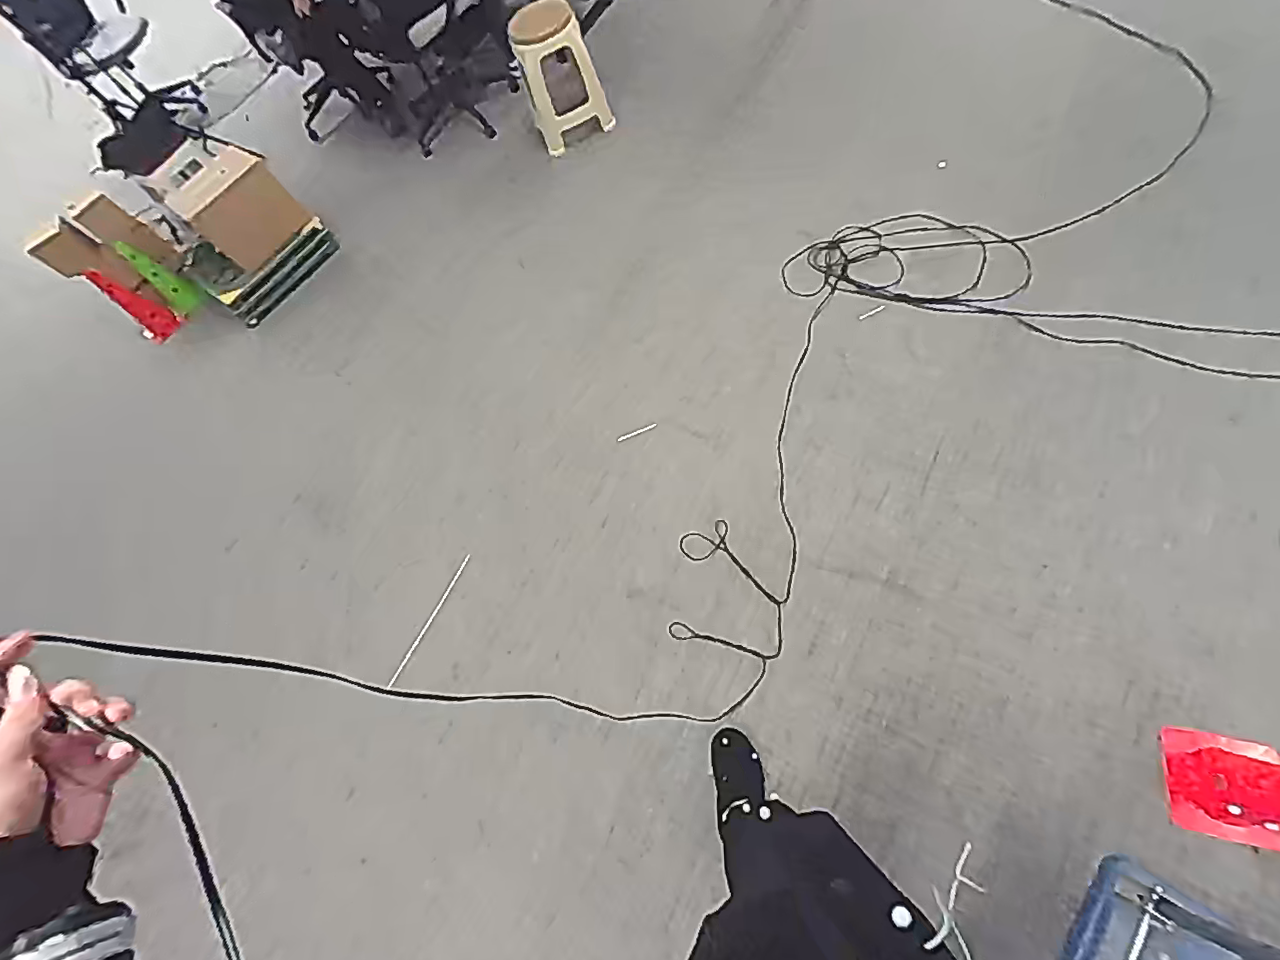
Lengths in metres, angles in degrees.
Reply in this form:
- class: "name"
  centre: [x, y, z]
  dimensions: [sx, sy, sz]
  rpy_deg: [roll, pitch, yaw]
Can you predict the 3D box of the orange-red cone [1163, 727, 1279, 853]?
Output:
- class: "orange-red cone"
  centre: [1.172, 0.562, 0.968]
  dimensions: [0.198, 0.360, 0.199]
  rpy_deg: [8, 67, 18]
